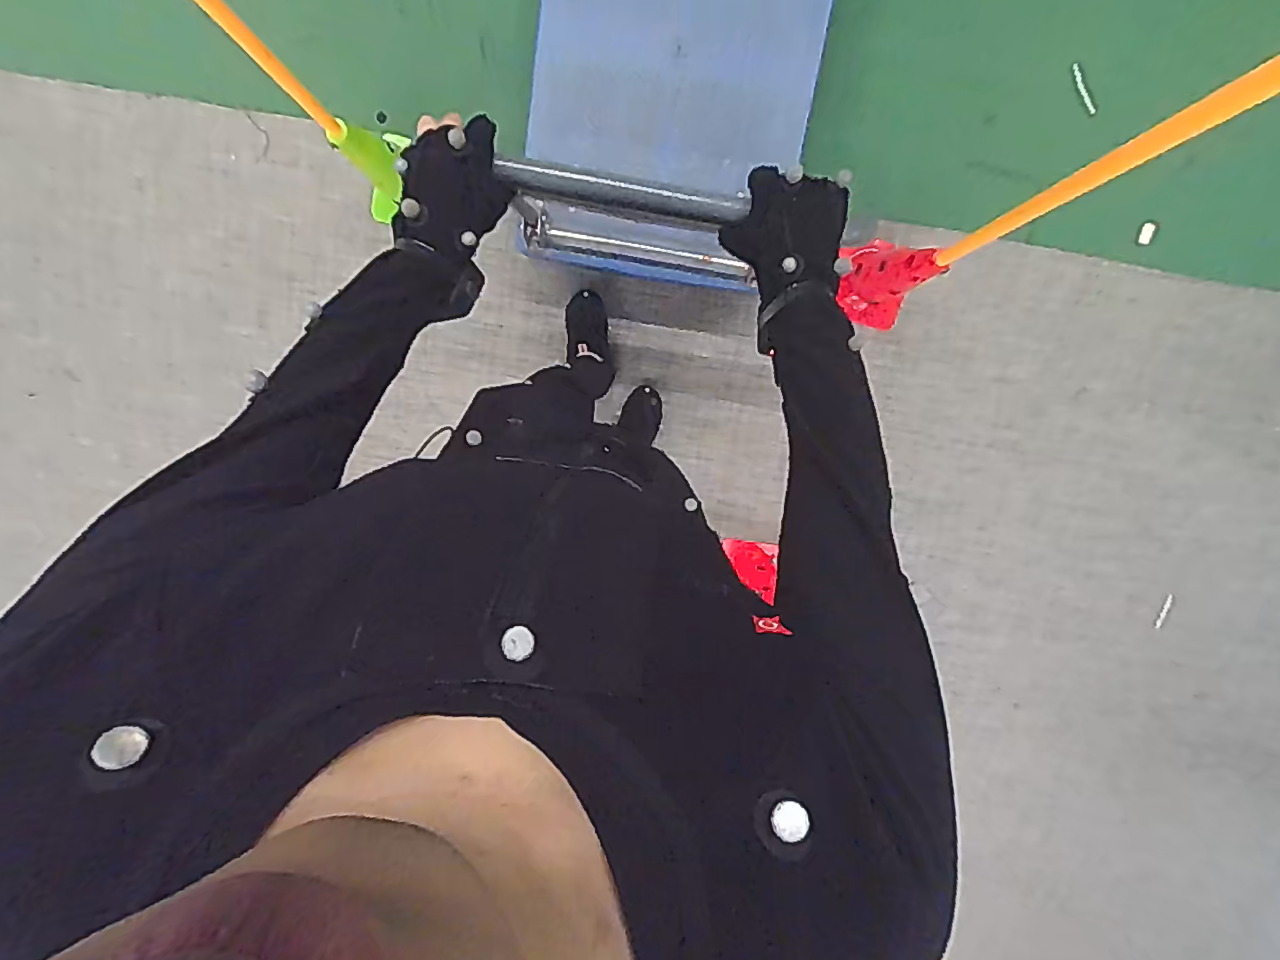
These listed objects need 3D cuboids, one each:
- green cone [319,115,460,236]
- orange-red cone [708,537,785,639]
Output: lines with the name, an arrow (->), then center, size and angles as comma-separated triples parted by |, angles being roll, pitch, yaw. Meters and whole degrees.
green cone -> -0.551, -0.680, 1.149 | 0.202, 0.368, 0.200 | 14, 103, -2
orange-red cone -> 0.298, 0.304, 1.380 | 0.199, 0.360, 0.198 | 9, 103, 0
